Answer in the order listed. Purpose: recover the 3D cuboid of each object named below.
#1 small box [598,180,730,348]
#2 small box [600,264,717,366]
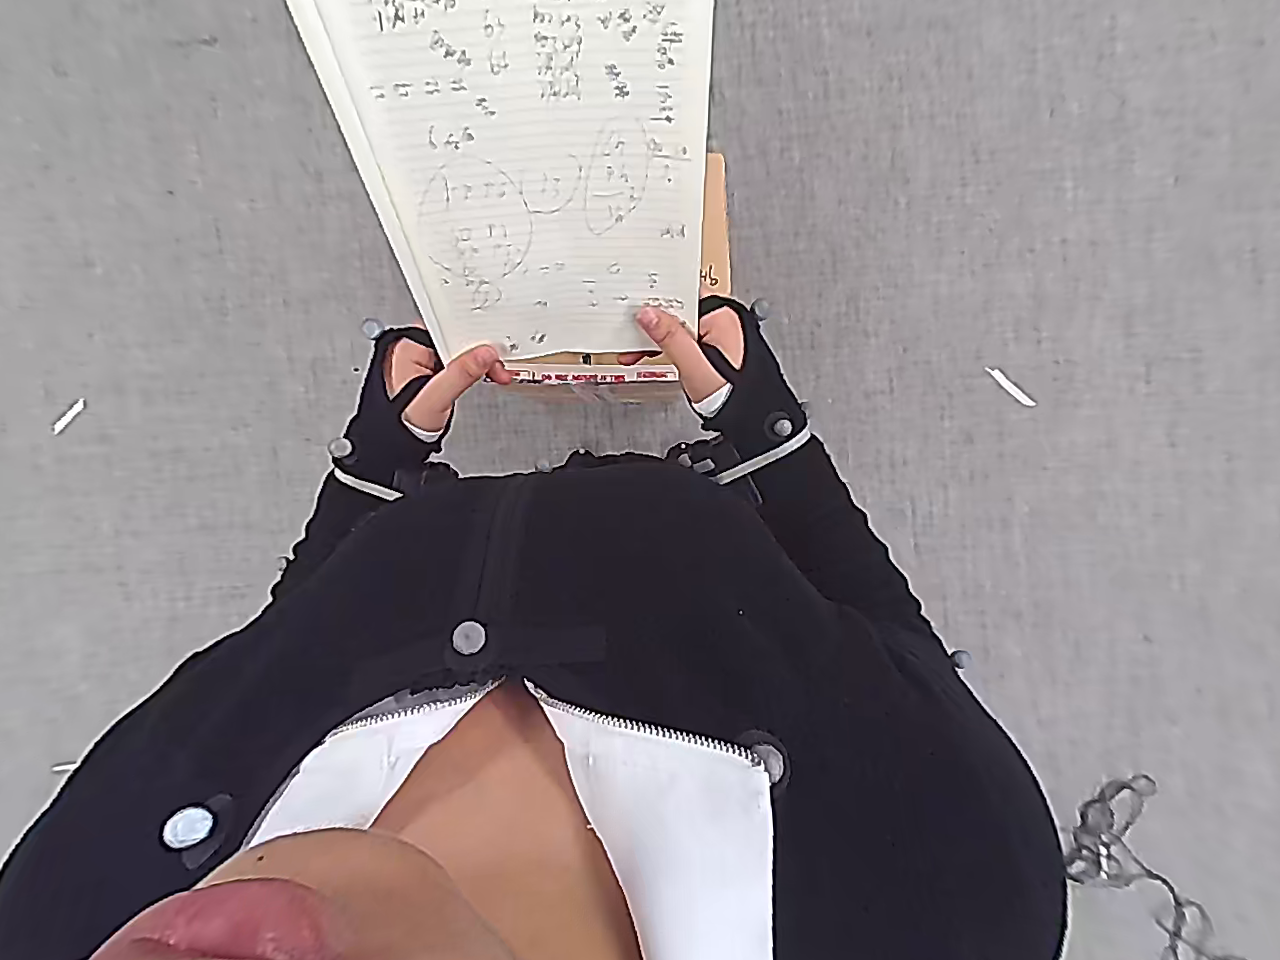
[{"bbox_3d":[0.028,-0.293,0.765,0.168,0.176,0.179,-4,93,-1],"label":"small box"},{"bbox_3d":[0.028,-0.295,0.930,0.179,0.176,0.168,-6,94,0],"label":"small box"}]
